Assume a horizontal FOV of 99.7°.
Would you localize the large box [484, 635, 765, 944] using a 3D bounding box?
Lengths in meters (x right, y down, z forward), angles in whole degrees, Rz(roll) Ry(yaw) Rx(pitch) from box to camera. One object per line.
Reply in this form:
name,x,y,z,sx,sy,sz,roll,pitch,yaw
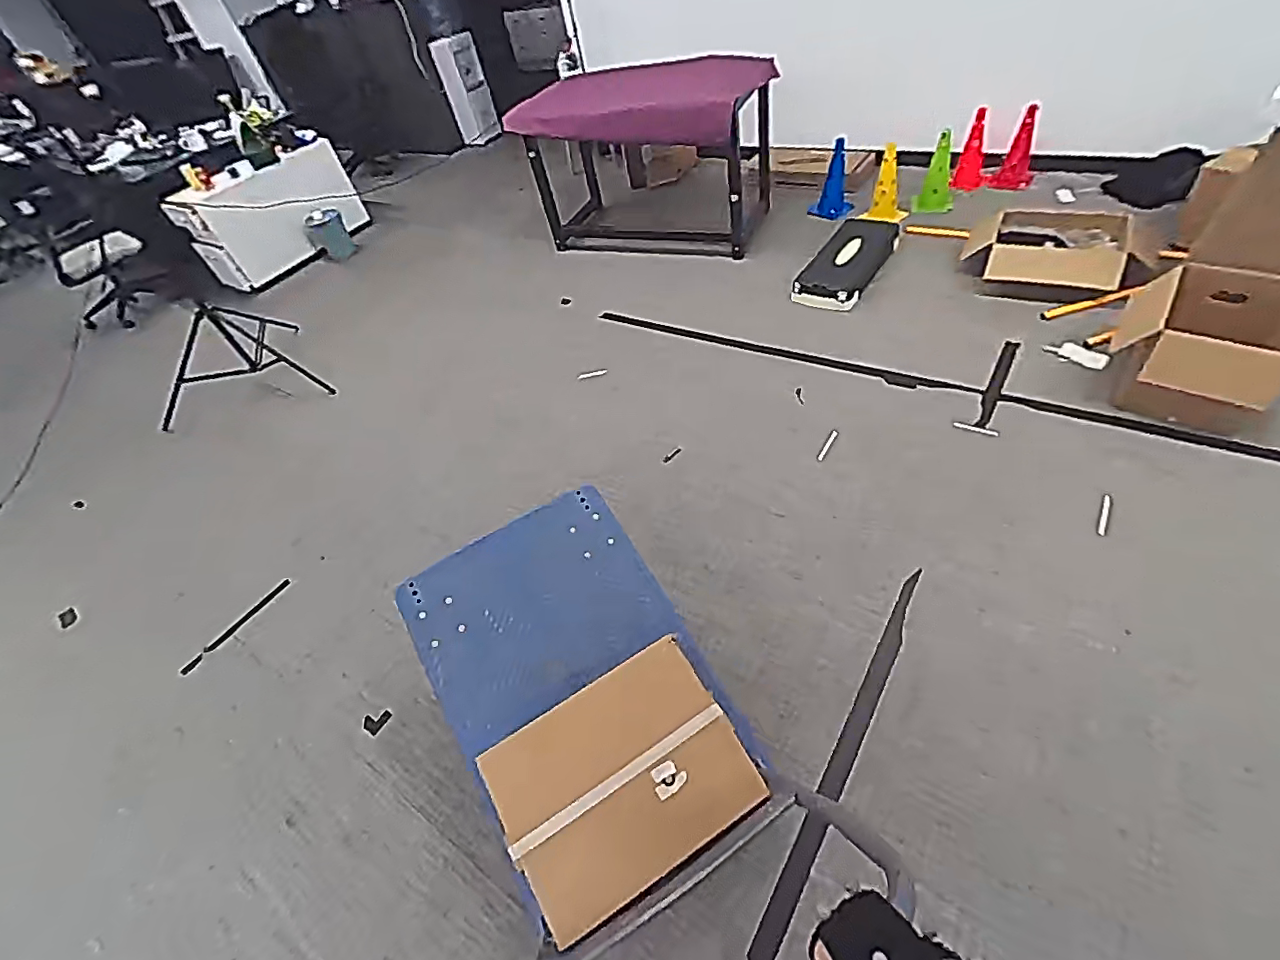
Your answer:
large box,-0.031,0.574,1.070,0.408,0.320,0.320,-30,69,-14
